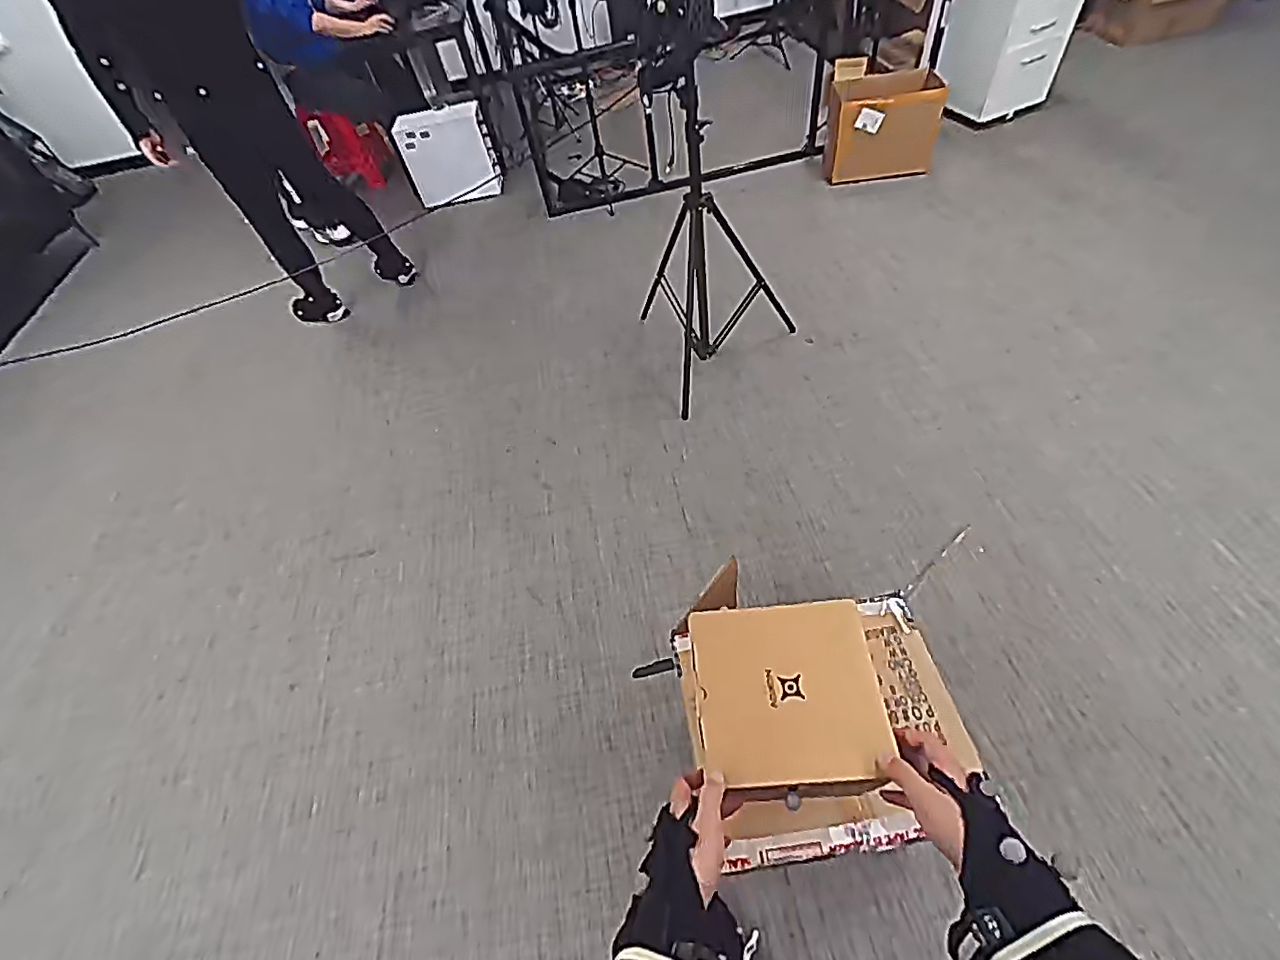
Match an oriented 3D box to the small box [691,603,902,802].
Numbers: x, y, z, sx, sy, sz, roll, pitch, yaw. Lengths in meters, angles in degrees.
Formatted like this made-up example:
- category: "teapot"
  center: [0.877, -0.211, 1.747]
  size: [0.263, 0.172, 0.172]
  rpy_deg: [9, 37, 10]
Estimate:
- category: "small box"
  center: [0.152, 0.248, 0.589]
  size: [0.179, 0.176, 0.168]
  rpy_deg: [-7, 55, 5]
